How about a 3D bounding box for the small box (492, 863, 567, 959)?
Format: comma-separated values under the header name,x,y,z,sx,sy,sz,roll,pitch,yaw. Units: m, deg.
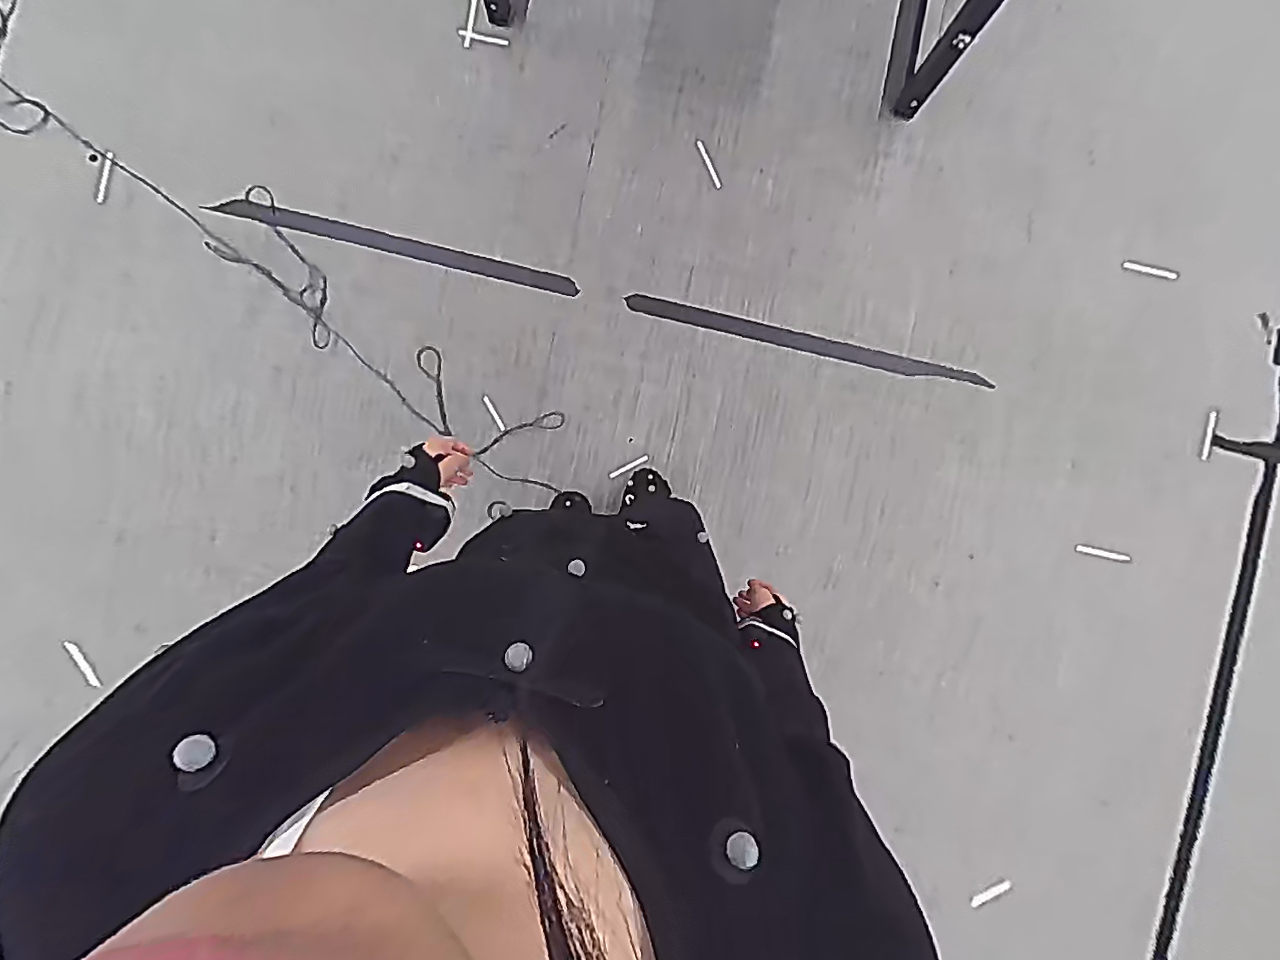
name,x,y,z,sx,sy,sz,roll,pitch,yaw
small box,-0.282,1.146,1.407,0.168,0.176,0.179,3,90,-2
